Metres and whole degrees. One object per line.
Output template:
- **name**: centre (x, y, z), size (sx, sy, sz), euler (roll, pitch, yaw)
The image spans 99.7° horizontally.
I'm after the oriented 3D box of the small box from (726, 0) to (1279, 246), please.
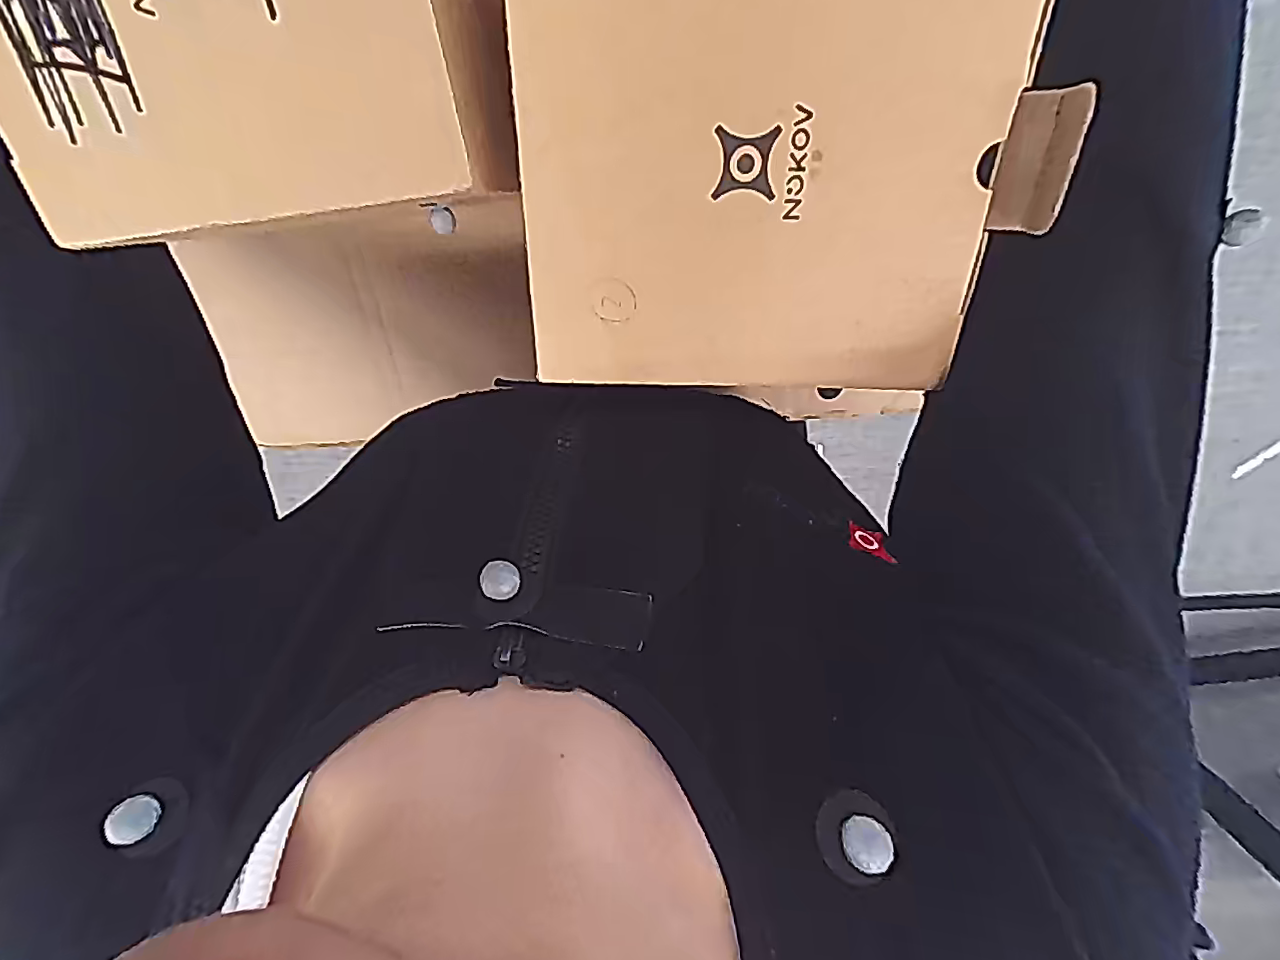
- **small box**: centre (0.144, -0.209, 0.213), size (0.179, 0.176, 0.168), euler (13, 125, -5)
